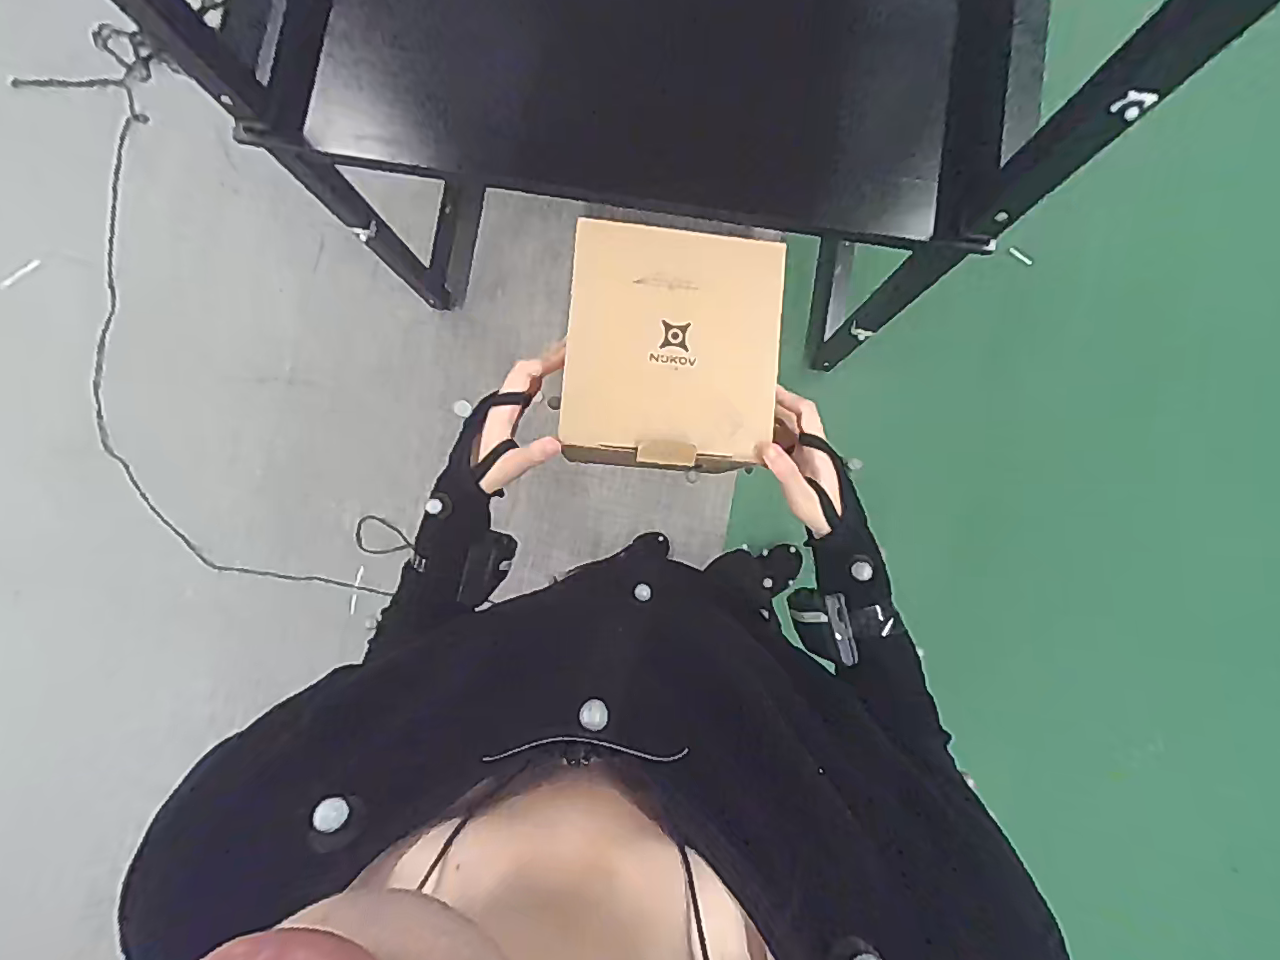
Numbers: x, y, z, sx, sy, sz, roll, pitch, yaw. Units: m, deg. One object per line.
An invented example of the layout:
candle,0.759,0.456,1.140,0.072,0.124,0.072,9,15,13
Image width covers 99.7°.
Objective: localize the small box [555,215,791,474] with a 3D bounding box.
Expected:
small box,0.019,-0.100,0.484,0.168,0.176,0.179,6,87,-7
